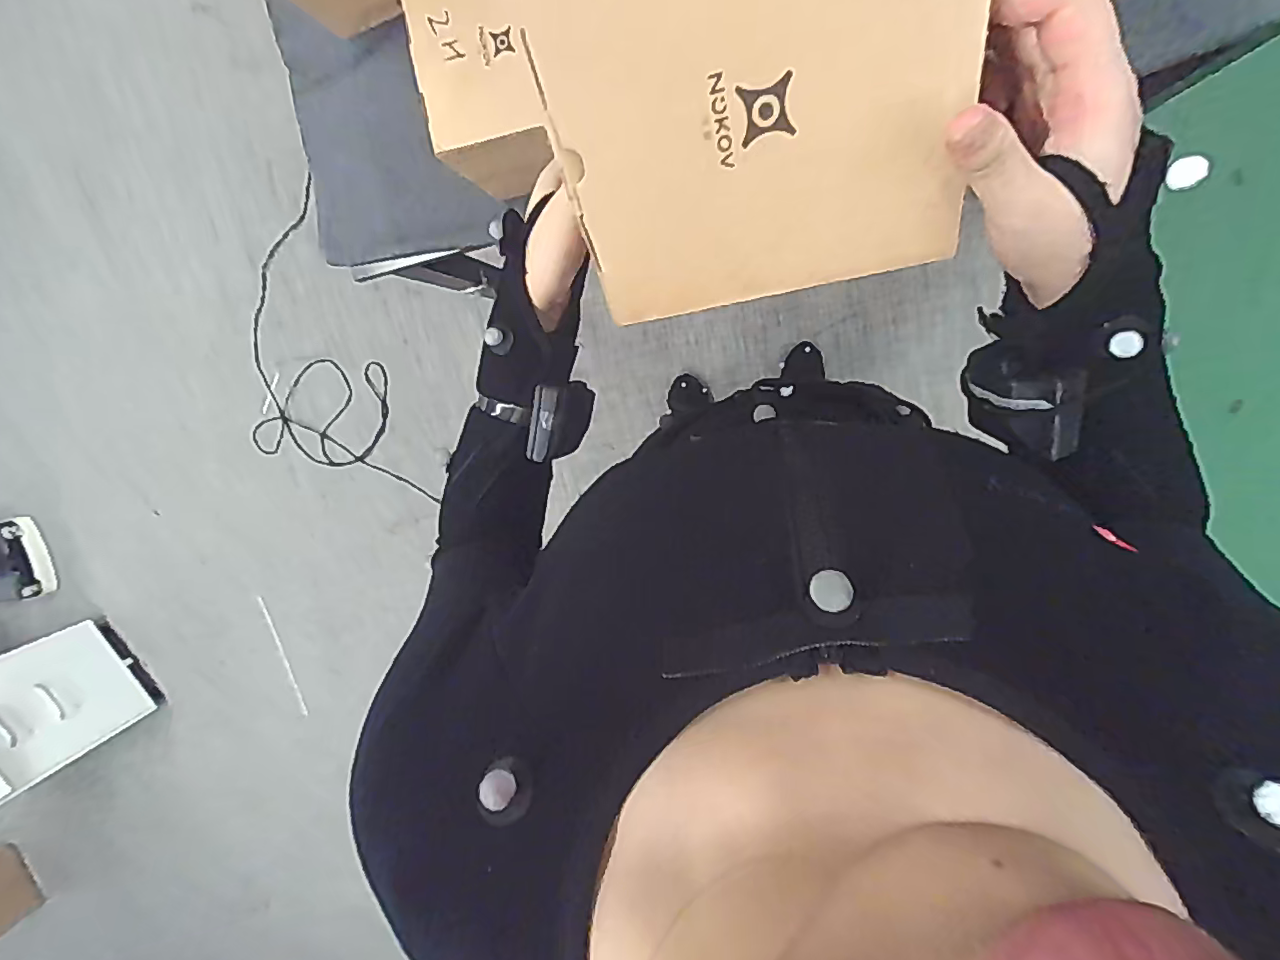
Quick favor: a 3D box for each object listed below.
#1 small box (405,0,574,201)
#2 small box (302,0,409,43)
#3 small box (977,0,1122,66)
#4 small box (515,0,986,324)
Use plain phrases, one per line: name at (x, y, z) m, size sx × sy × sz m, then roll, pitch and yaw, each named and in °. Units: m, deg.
small box at (-0.126, -0.438, 0.609) m, size 0.179 × 0.176 × 0.168 m, roll -7°, pitch 101°, yaw 11°
small box at (-0.343, -0.651, 0.601) m, size 0.168 × 0.176 × 0.179 m, roll -14°, pitch 100°, yaw 12°
small box at (0.375, -0.534, 0.502) m, size 0.168 × 0.176 × 0.179 m, roll -9°, pitch 100°, yaw 12°
small box at (0.056, -0.212, 0.288) m, size 0.179 × 0.176 × 0.168 m, roll -8°, pitch 132°, yaw 14°
